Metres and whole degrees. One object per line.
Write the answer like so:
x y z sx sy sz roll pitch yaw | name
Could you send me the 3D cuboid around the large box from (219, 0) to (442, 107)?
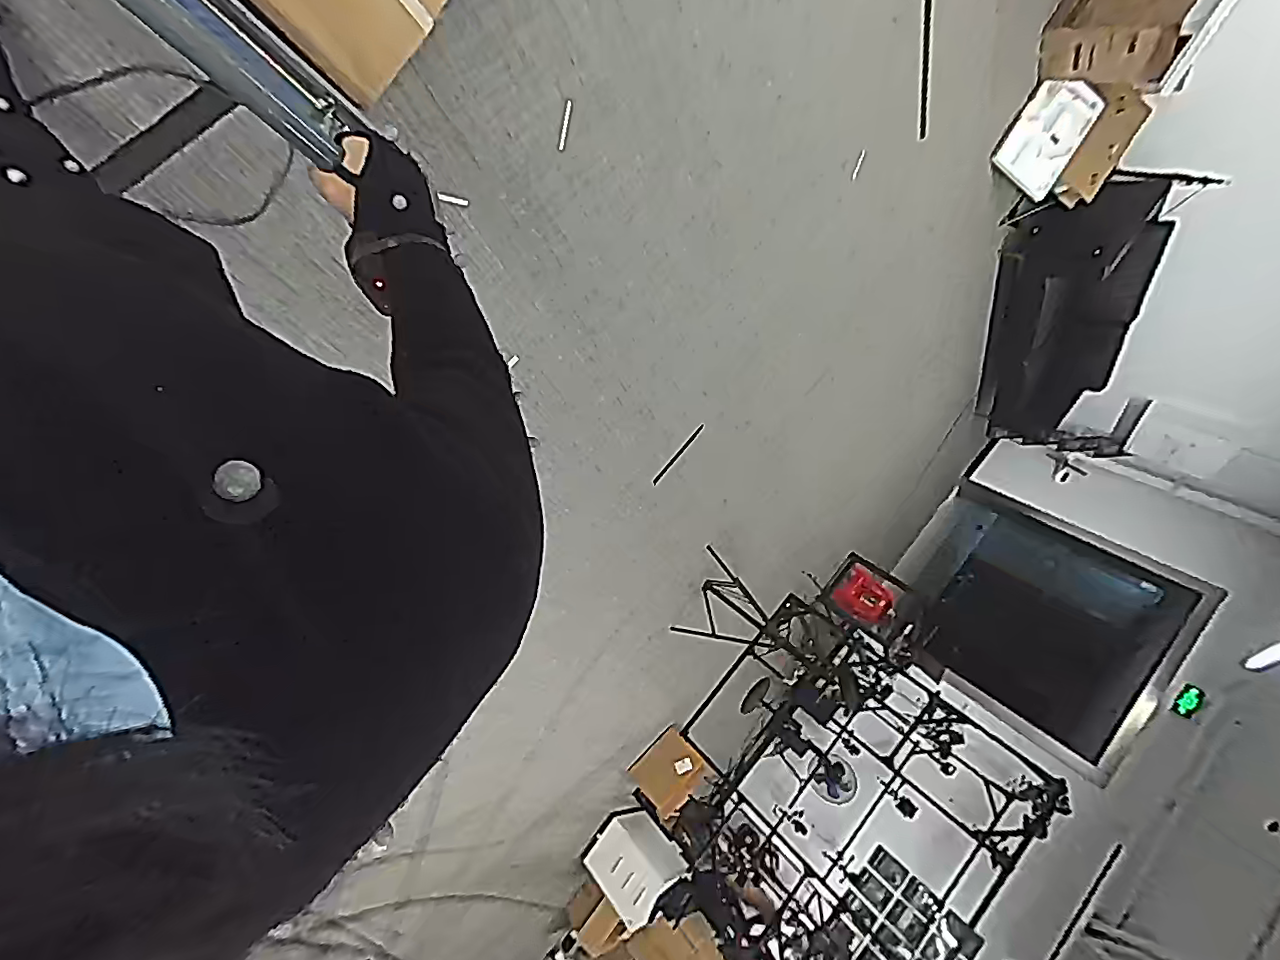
-0.515 -0.822 0.734 0.320 0.320 0.408 -50 145 5 | large box
